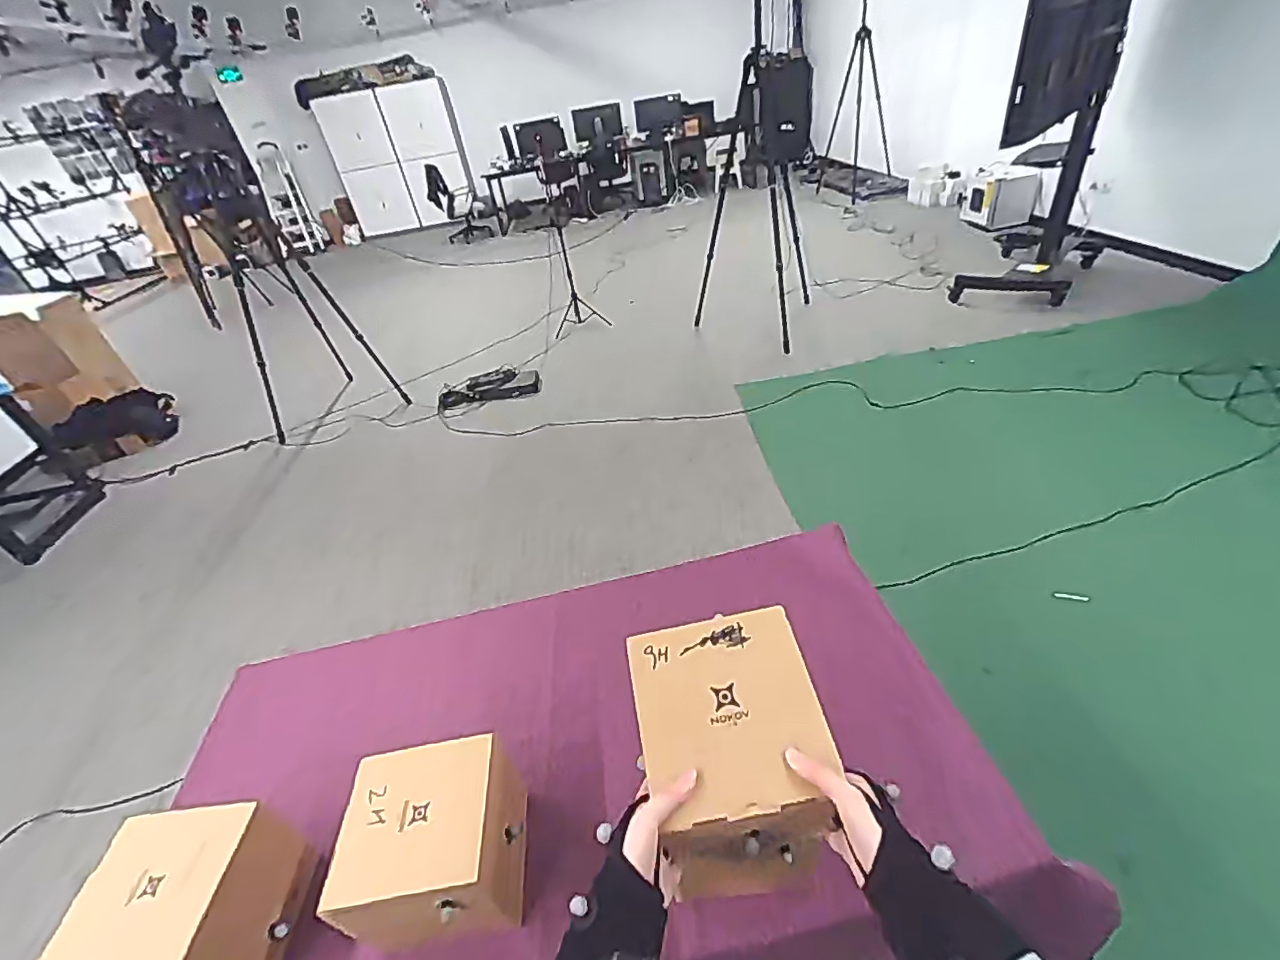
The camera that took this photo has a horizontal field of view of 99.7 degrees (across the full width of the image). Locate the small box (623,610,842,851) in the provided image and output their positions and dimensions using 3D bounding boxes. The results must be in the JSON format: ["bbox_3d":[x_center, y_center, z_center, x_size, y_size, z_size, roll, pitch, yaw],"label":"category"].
[{"bbox_3d":[0.085,0.262,0.553,0.168,0.176,0.179,-12,50,-1],"label":"small box"}]

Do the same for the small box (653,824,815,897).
[{"bbox_3d":[0.108,0.392,0.675,0.179,0.176,0.168,-8,37,3],"label":"small box"}]

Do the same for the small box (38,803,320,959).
[{"bbox_3d":[-0.544,0.527,0.663,0.179,0.176,0.168,-8,37,3],"label":"small box"}]

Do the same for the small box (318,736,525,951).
[{"bbox_3d":[-0.252,0.456,0.681,0.179,0.176,0.168,-11,36,0],"label":"small box"}]
